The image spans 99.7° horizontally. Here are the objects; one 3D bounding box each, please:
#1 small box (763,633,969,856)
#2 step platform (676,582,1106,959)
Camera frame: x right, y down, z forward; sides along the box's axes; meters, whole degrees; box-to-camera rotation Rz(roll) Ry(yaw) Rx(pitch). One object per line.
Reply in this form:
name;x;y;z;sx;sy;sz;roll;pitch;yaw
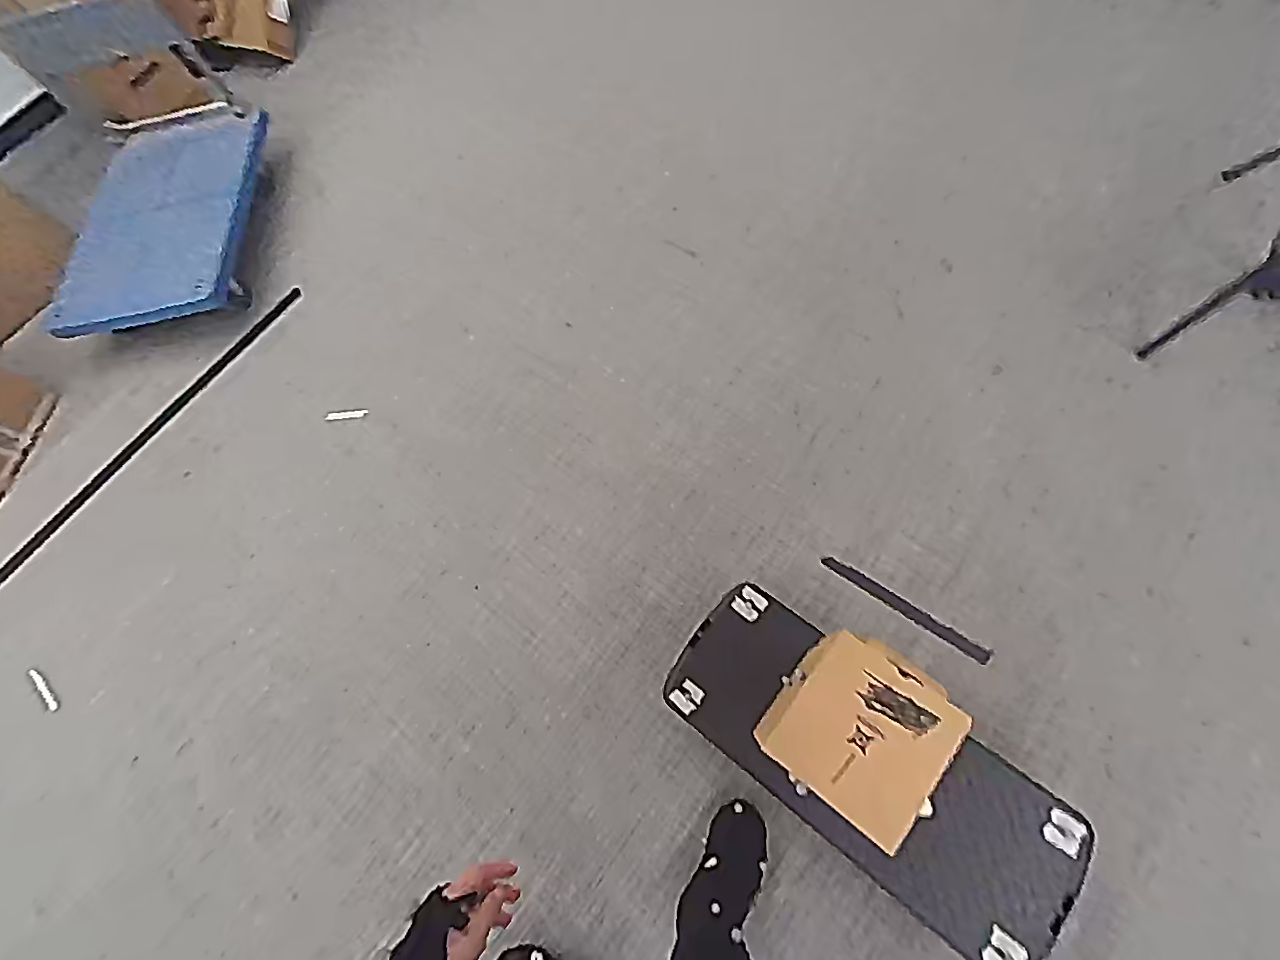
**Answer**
small box;0.271;0.323;0.693;0.168;0.176;0.179;35;78;21
step platform;0.400;0.483;0.975;0.684;0.204;0.286;34;77;21
